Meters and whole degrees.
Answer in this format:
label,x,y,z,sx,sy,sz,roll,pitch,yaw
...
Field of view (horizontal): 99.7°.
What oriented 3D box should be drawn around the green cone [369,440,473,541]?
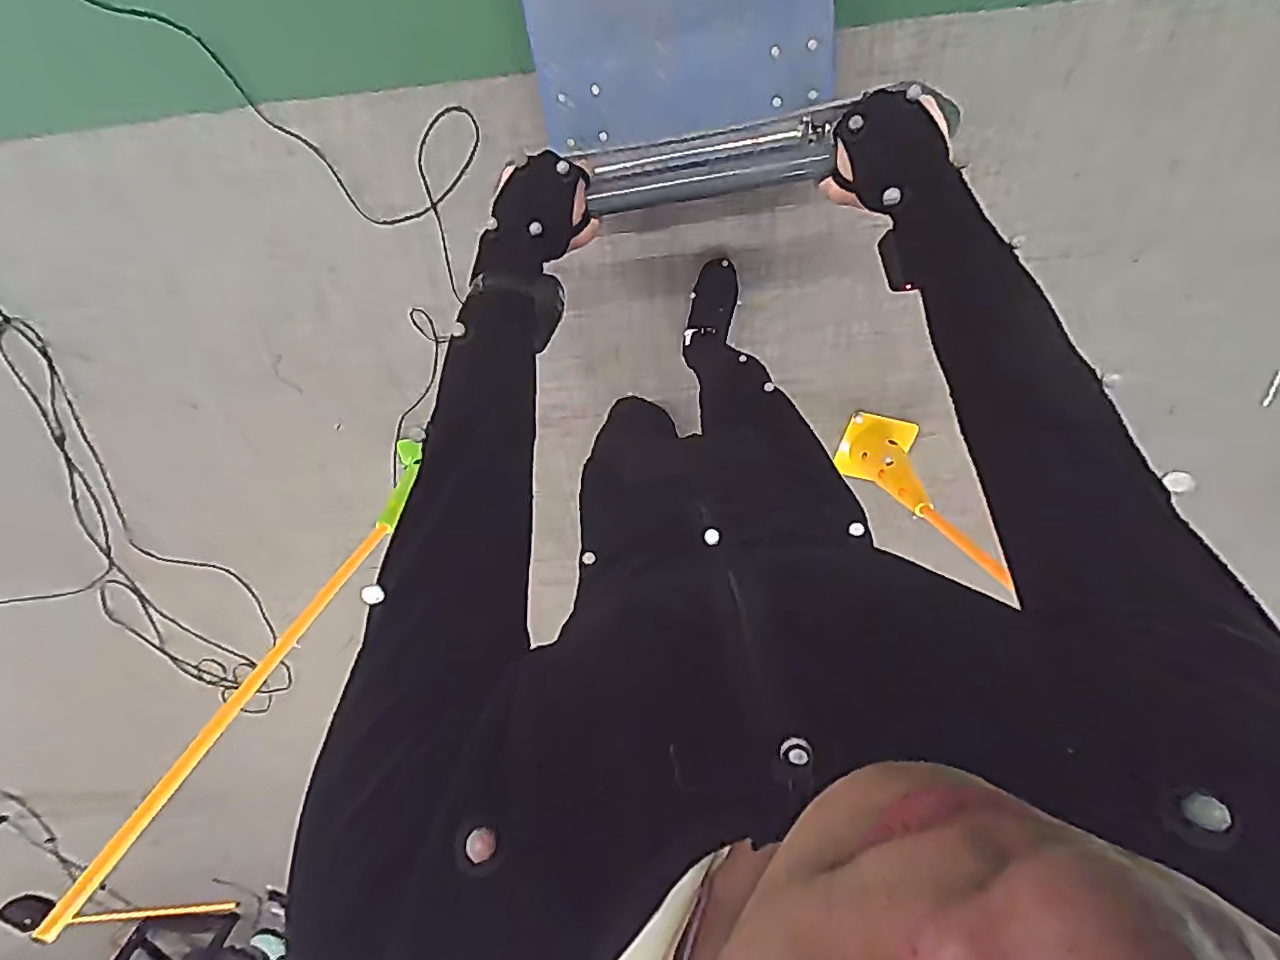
label,x,y,z,sx,sy,sz,roll,pitch,yaw
green cone,-0.649,0.051,1.527,0.202,0.368,0.200,-6,117,8
